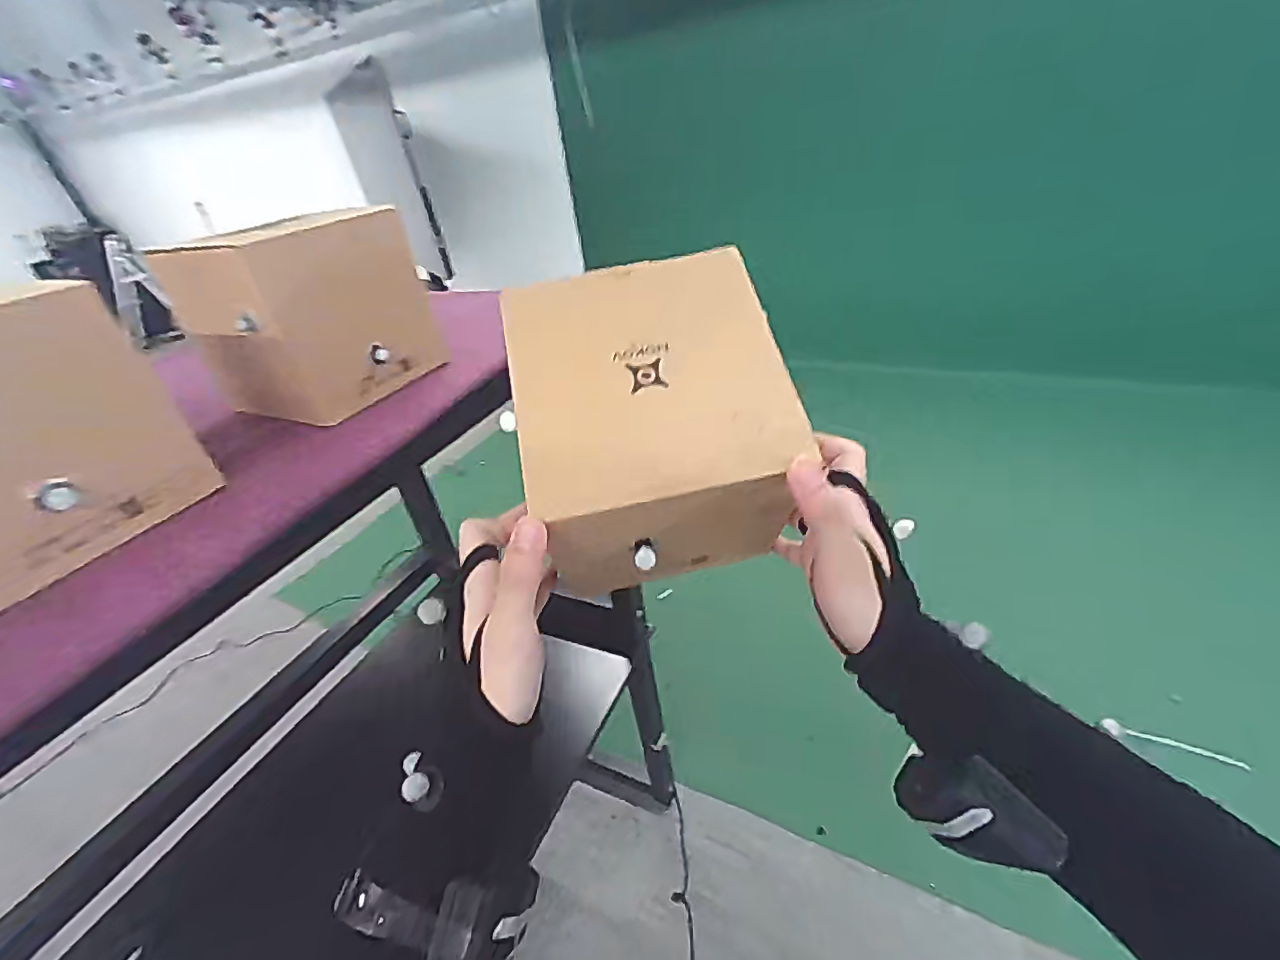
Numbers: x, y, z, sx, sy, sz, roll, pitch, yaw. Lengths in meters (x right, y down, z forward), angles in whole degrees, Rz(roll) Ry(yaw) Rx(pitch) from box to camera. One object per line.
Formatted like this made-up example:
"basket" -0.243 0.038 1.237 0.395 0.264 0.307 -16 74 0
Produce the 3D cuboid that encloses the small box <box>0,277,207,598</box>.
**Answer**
"small box" -0.468 -0.032 0.377 0.179 0.176 0.168 9 38 25

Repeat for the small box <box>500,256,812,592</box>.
"small box" 0.005 -0.027 0.401 0.168 0.176 0.179 -12 62 -3
